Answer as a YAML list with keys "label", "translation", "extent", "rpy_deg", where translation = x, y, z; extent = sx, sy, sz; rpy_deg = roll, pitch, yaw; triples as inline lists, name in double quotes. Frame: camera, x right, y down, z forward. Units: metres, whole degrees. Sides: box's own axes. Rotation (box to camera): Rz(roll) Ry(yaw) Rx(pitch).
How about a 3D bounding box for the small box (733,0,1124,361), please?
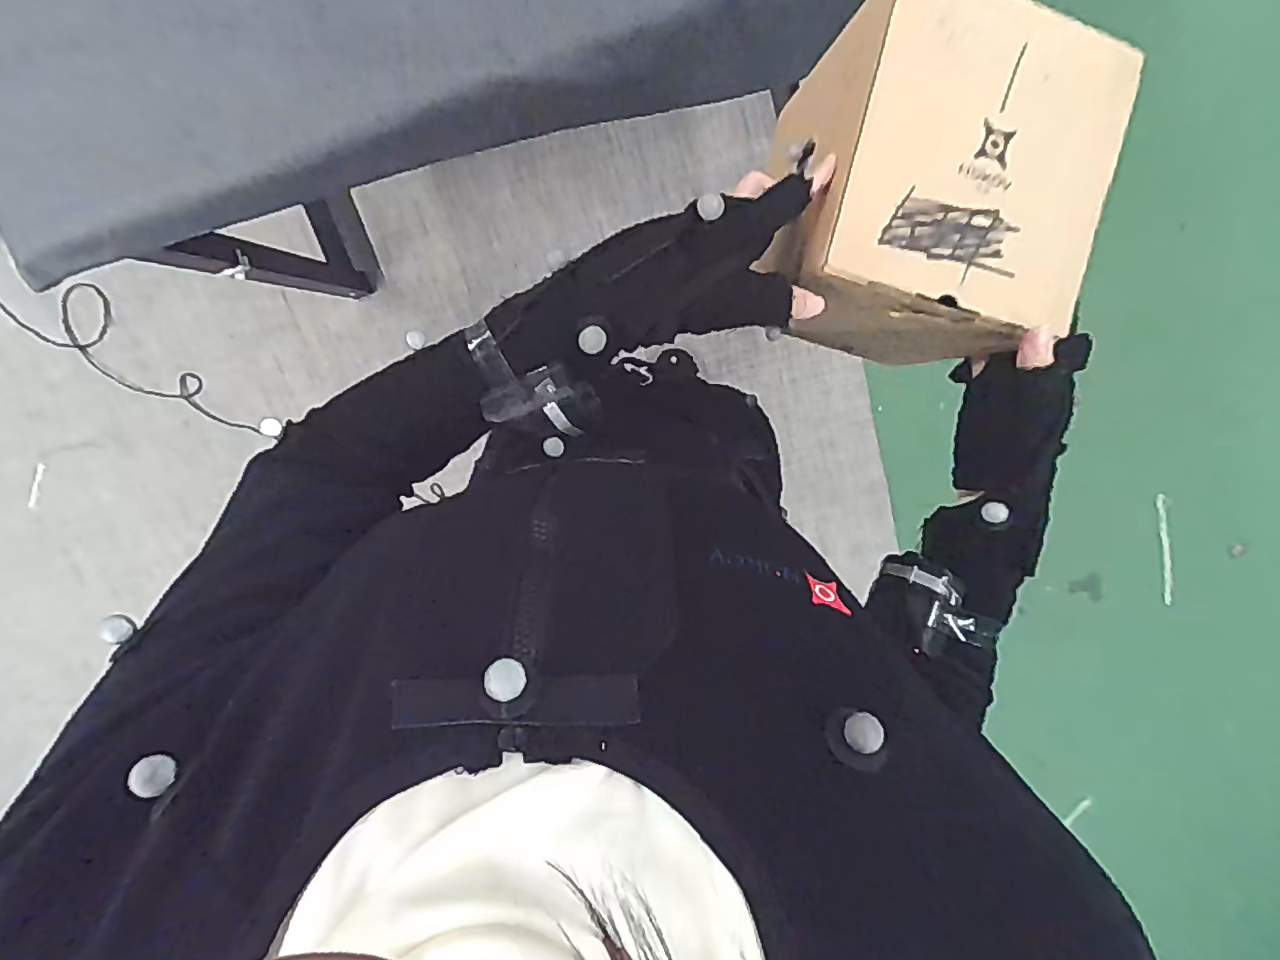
- label: "small box"
  translation: [0.183, -0.196, 0.400]
  extent: [0.168, 0.176, 0.179]
  rpy_deg: [14, 94, -11]
